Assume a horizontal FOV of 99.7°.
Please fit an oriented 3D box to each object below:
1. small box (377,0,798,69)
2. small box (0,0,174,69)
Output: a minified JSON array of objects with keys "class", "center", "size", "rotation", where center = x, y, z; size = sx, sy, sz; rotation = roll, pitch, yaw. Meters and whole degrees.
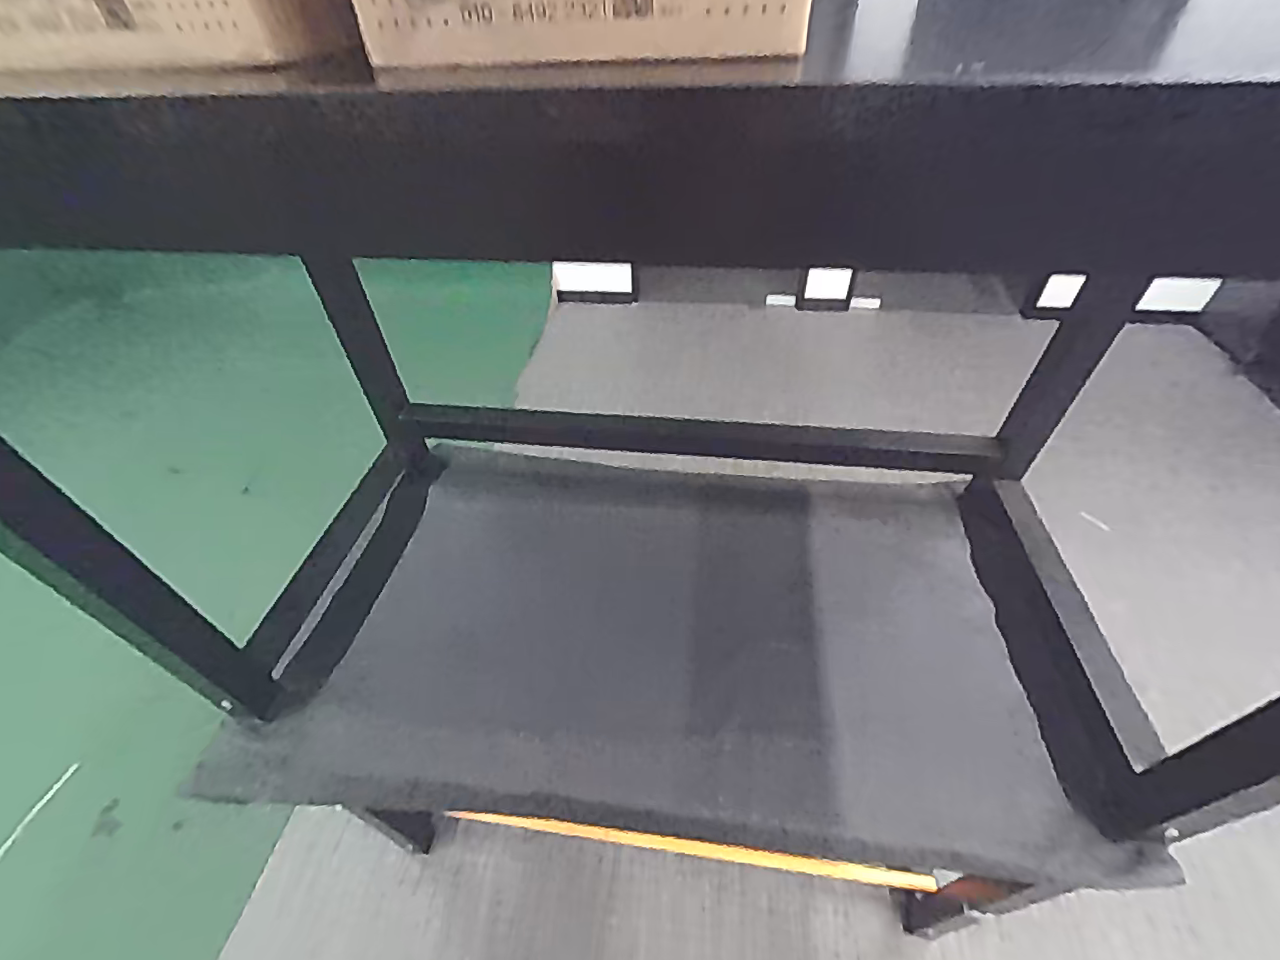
[{"class":"small box","center":[-0.018,-0.274,0.211],"size":[0.168,0.176,0.179],"rotation":[3,44,6]},{"class":"small box","center":[-0.409,-0.319,0.274],"size":[0.168,0.176,0.179],"rotation":[5,45,6]}]
